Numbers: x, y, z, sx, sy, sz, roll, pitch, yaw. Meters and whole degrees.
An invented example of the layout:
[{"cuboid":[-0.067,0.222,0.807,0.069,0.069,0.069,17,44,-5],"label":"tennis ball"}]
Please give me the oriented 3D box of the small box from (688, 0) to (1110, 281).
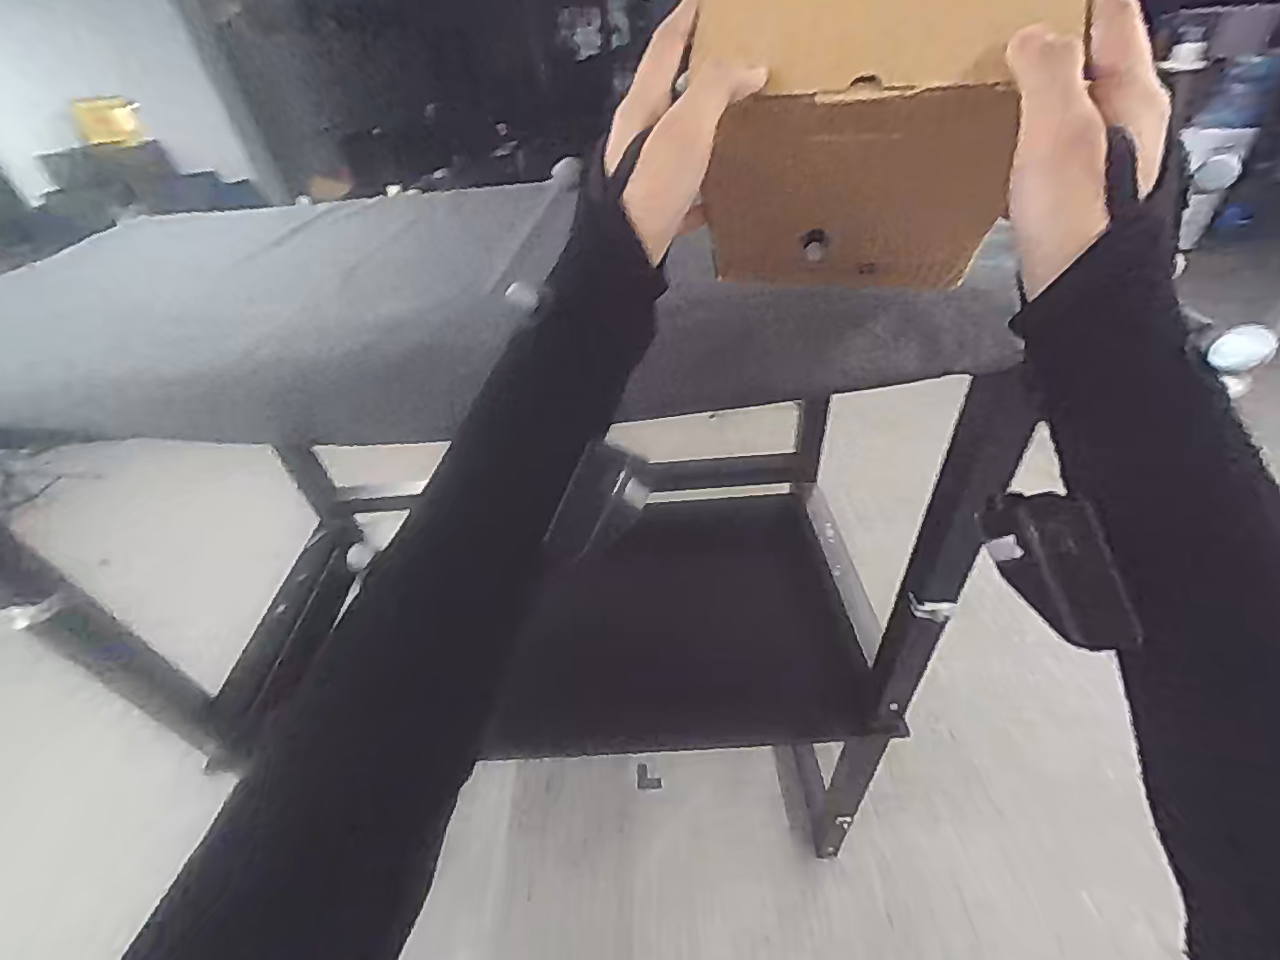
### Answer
[{"cuboid":[0.131,-0.241,0.313,0.168,0.176,0.179,7,83,15],"label":"small box"}]
